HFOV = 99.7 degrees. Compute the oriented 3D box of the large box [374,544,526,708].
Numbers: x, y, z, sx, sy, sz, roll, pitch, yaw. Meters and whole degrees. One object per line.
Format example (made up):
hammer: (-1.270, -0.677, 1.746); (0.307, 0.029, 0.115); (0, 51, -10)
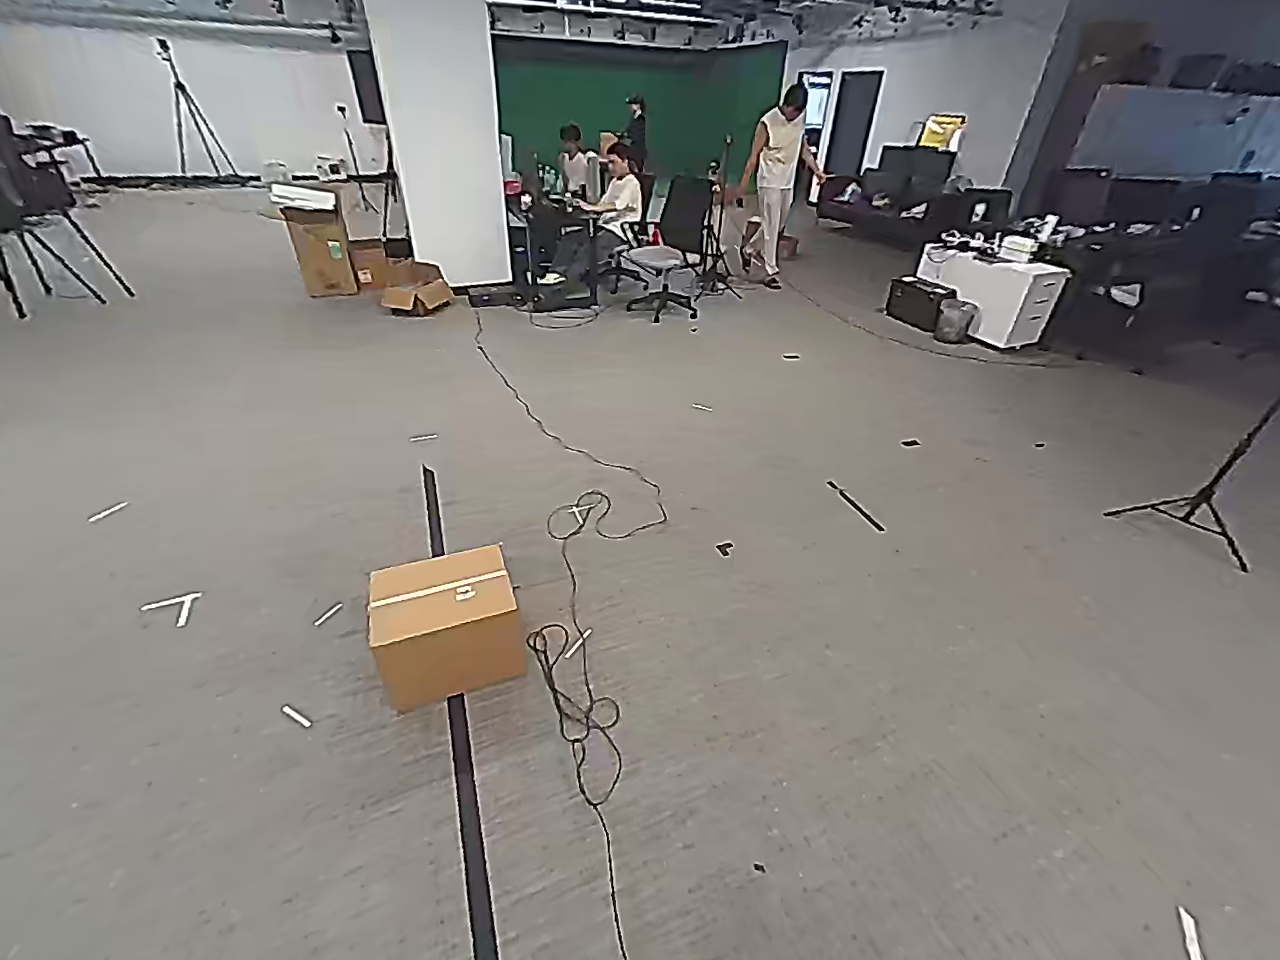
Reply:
large box: (-0.605, 0.457, 1.733); (0.408, 0.320, 0.320); (-11, 37, -19)
